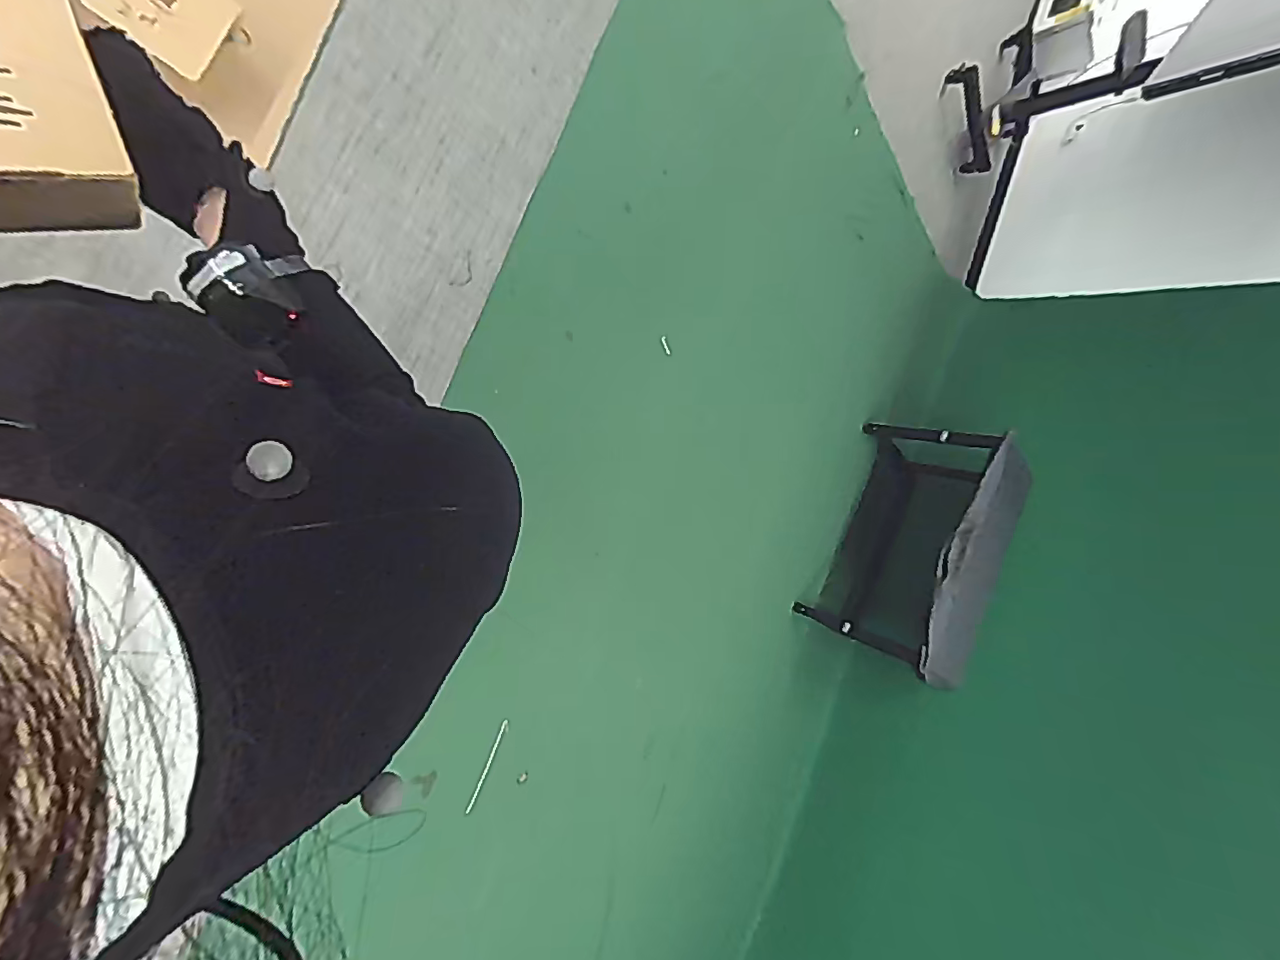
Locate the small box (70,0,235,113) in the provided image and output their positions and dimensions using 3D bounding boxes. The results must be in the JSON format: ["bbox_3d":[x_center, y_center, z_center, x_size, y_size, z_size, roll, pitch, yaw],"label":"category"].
[{"bbox_3d":[-0.870,-0.816,0.972,0.168,0.176,0.179,29,80,-41],"label":"small box"}]
